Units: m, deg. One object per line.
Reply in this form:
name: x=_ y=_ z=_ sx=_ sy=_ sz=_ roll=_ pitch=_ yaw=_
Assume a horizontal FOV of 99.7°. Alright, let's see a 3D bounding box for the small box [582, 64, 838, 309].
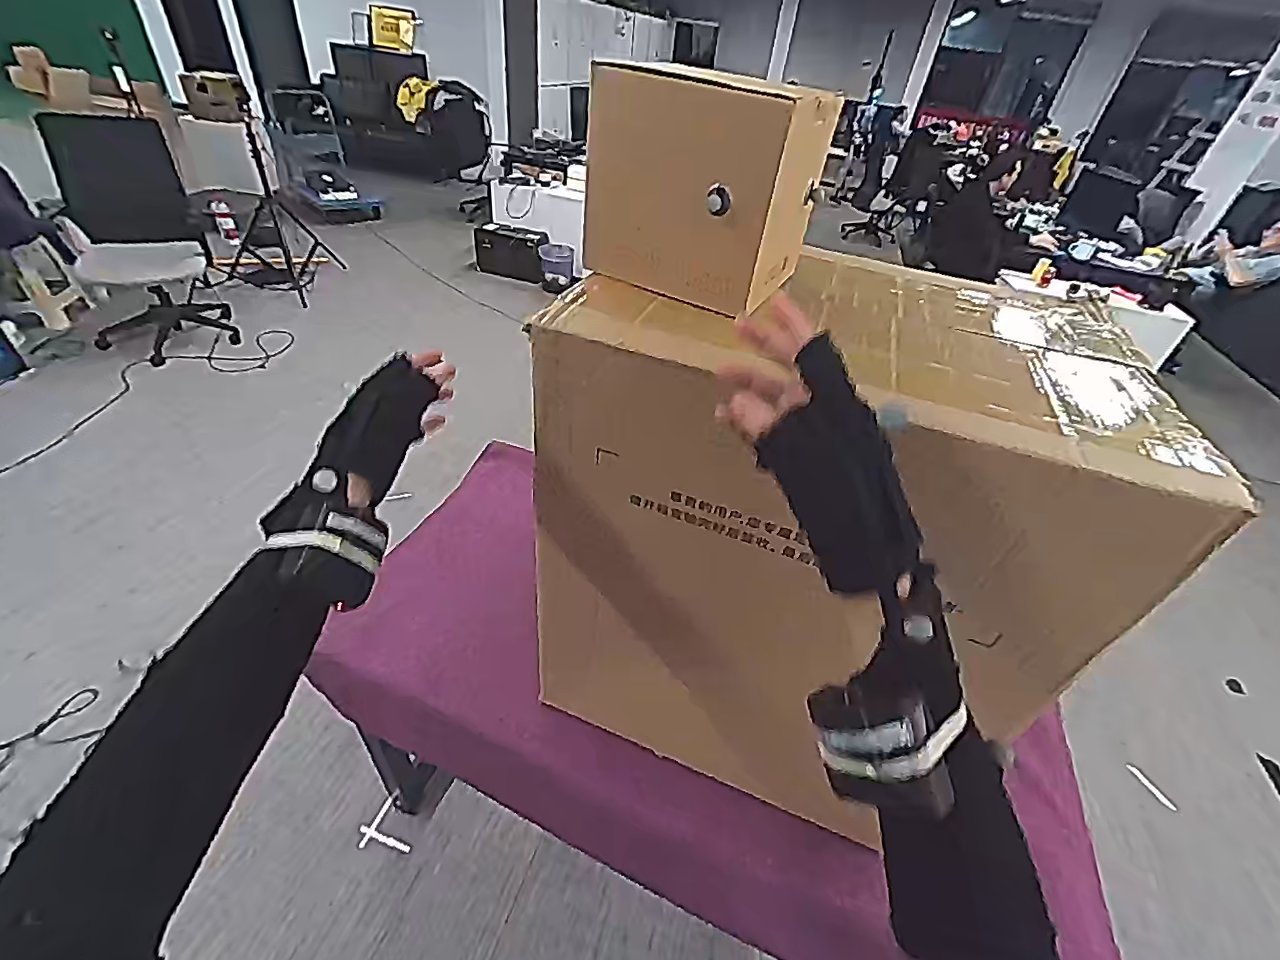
small box: x=0.061 y=-0.278 z=0.515 sx=0.179 sy=0.176 sz=0.168 roll=23 pitch=41 yaw=18
